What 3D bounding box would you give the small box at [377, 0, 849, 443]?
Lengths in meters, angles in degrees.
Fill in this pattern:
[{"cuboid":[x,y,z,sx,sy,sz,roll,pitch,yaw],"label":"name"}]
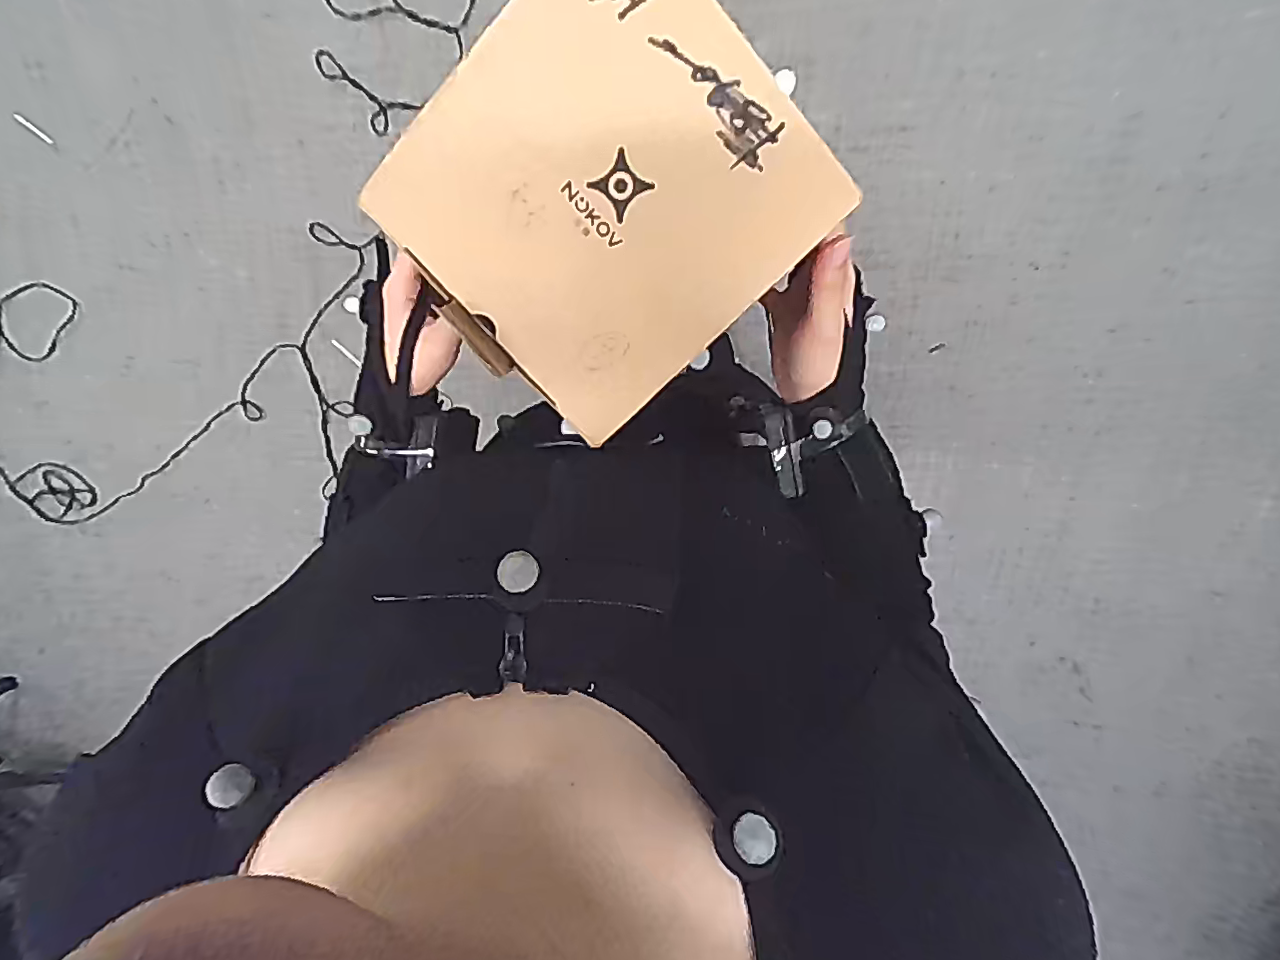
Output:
[{"cuboid":[-0.011,-0.152,0.338,0.179,0.176,0.168,-41,101,13],"label":"small box"}]
